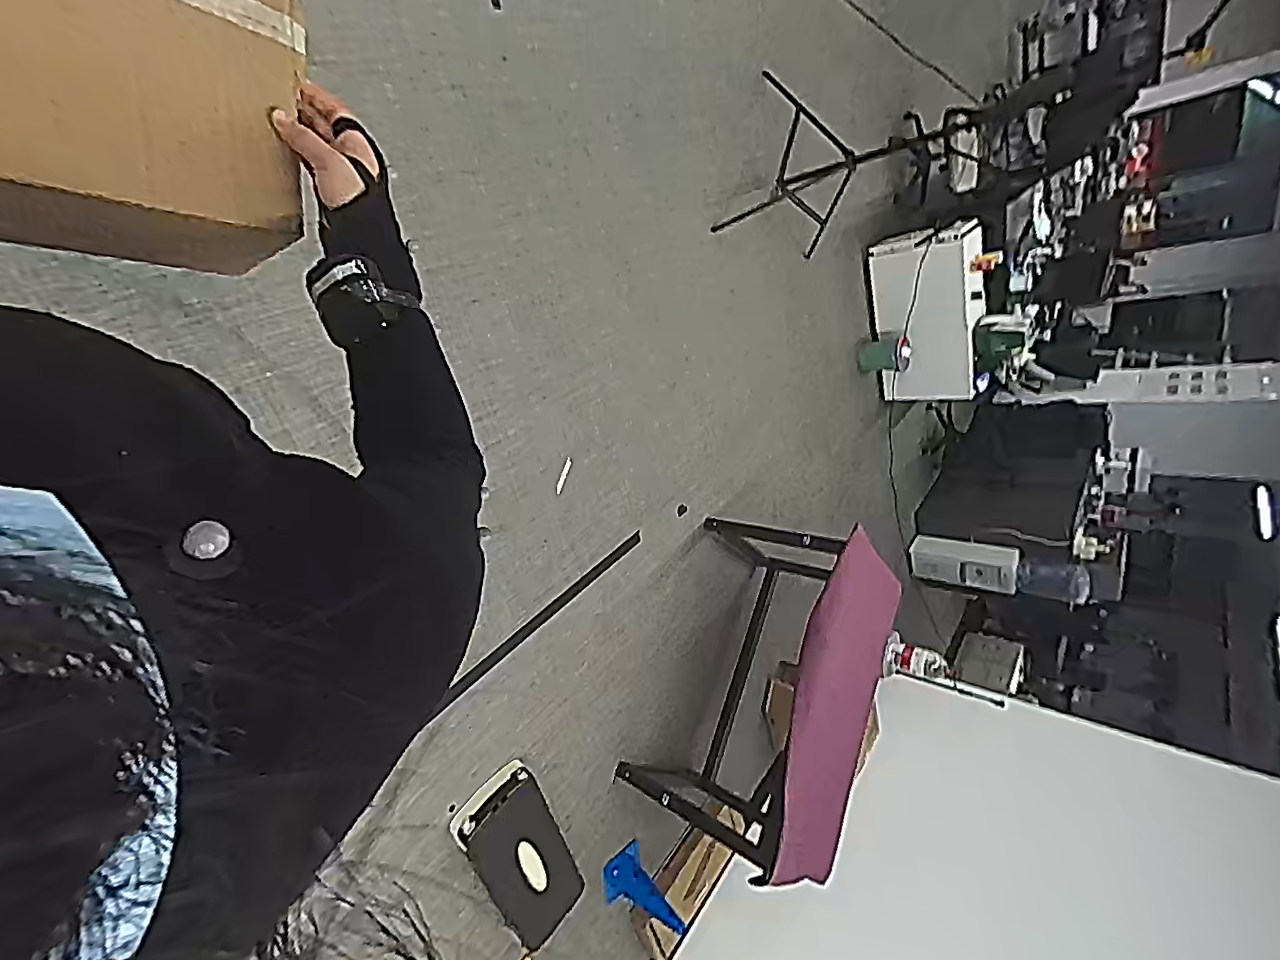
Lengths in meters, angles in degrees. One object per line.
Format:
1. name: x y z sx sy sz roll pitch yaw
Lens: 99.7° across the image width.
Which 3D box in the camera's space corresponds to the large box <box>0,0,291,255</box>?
1. large box: -0.544 -0.382 0.414 0.408 0.320 0.320 -8 104 -43
